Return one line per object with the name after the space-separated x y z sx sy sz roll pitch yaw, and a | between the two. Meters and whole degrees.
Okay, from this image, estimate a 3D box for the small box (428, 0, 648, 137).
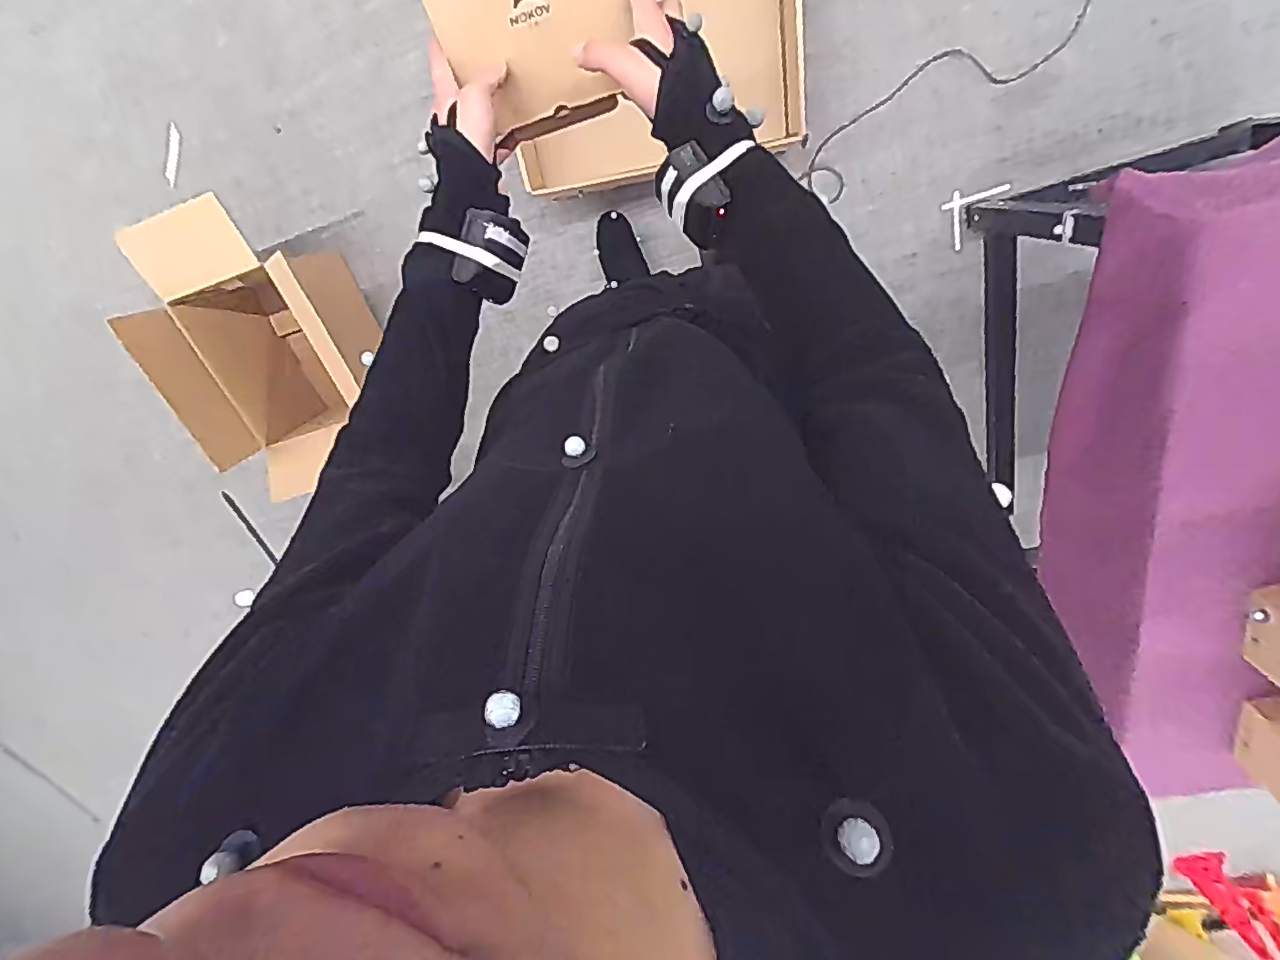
-0.090 -0.451 0.493 0.168 0.176 0.179 -12 132 11 | small box

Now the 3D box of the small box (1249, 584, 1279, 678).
1.137 0.262 0.852 0.179 0.176 0.168 -18 115 14 | small box
